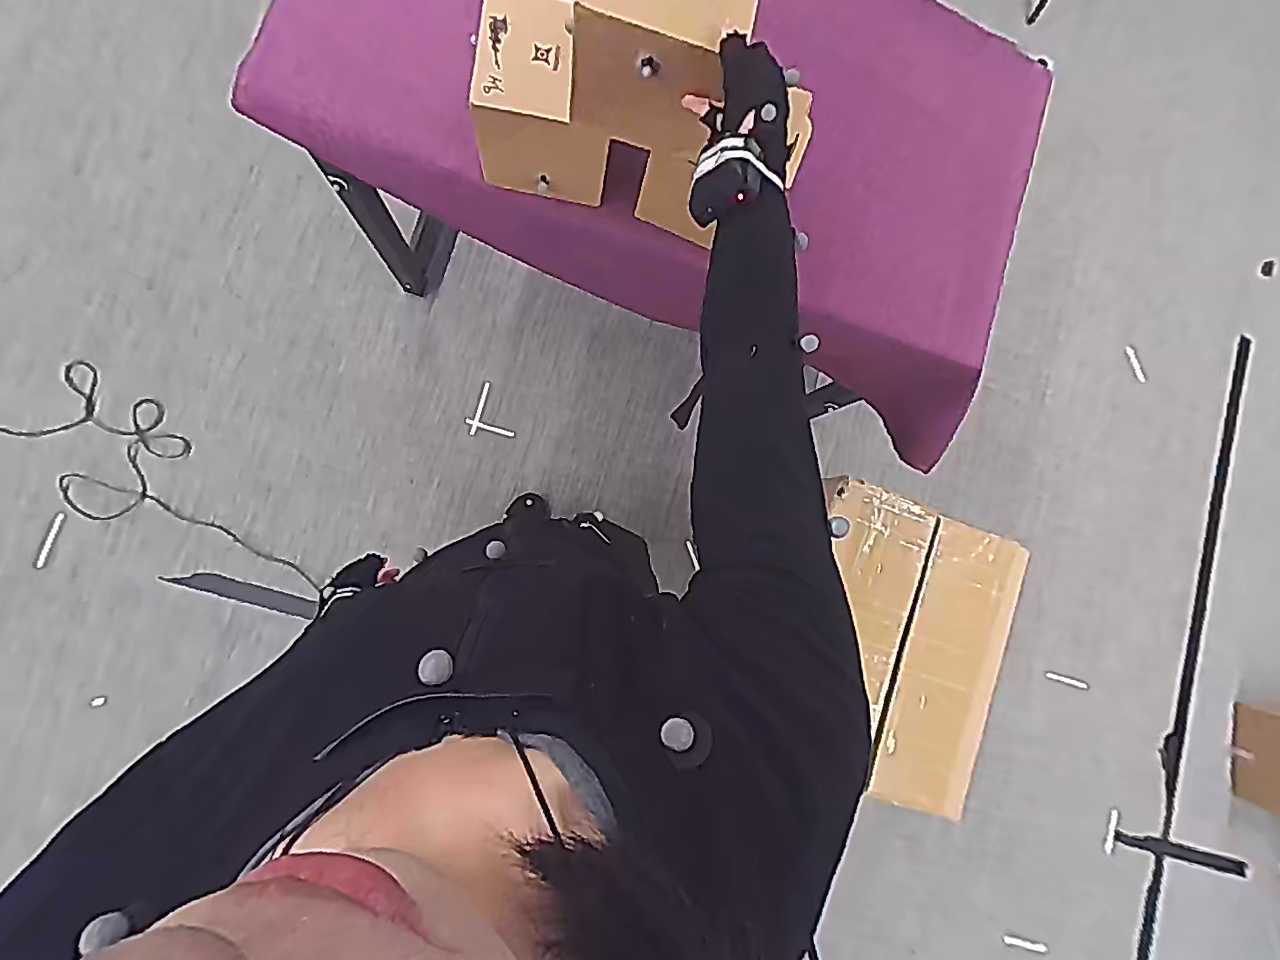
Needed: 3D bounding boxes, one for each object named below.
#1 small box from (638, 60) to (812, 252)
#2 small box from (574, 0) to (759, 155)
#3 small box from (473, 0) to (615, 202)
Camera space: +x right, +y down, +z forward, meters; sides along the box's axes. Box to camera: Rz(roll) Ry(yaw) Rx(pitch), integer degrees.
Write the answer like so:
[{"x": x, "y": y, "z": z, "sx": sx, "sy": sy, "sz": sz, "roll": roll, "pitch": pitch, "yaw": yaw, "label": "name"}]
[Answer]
[{"x": 0.112, "y": -0.463, "z": 0.784, "sx": 0.179, "sy": 0.176, "sz": 0.168, "roll": 22, "pitch": 82, "yaw": -6, "label": "small box"}, {"x": 0.027, "y": -0.509, "z": 0.609, "sx": 0.179, "sy": 0.176, "sz": 0.168, "roll": 13, "pitch": 84, "yaw": -9, "label": "small box"}, {"x": -0.124, "y": -0.519, "z": 0.753, "sx": 0.179, "sy": 0.176, "sz": 0.168, "roll": 7, "pitch": 84, "yaw": -10, "label": "small box"}]
